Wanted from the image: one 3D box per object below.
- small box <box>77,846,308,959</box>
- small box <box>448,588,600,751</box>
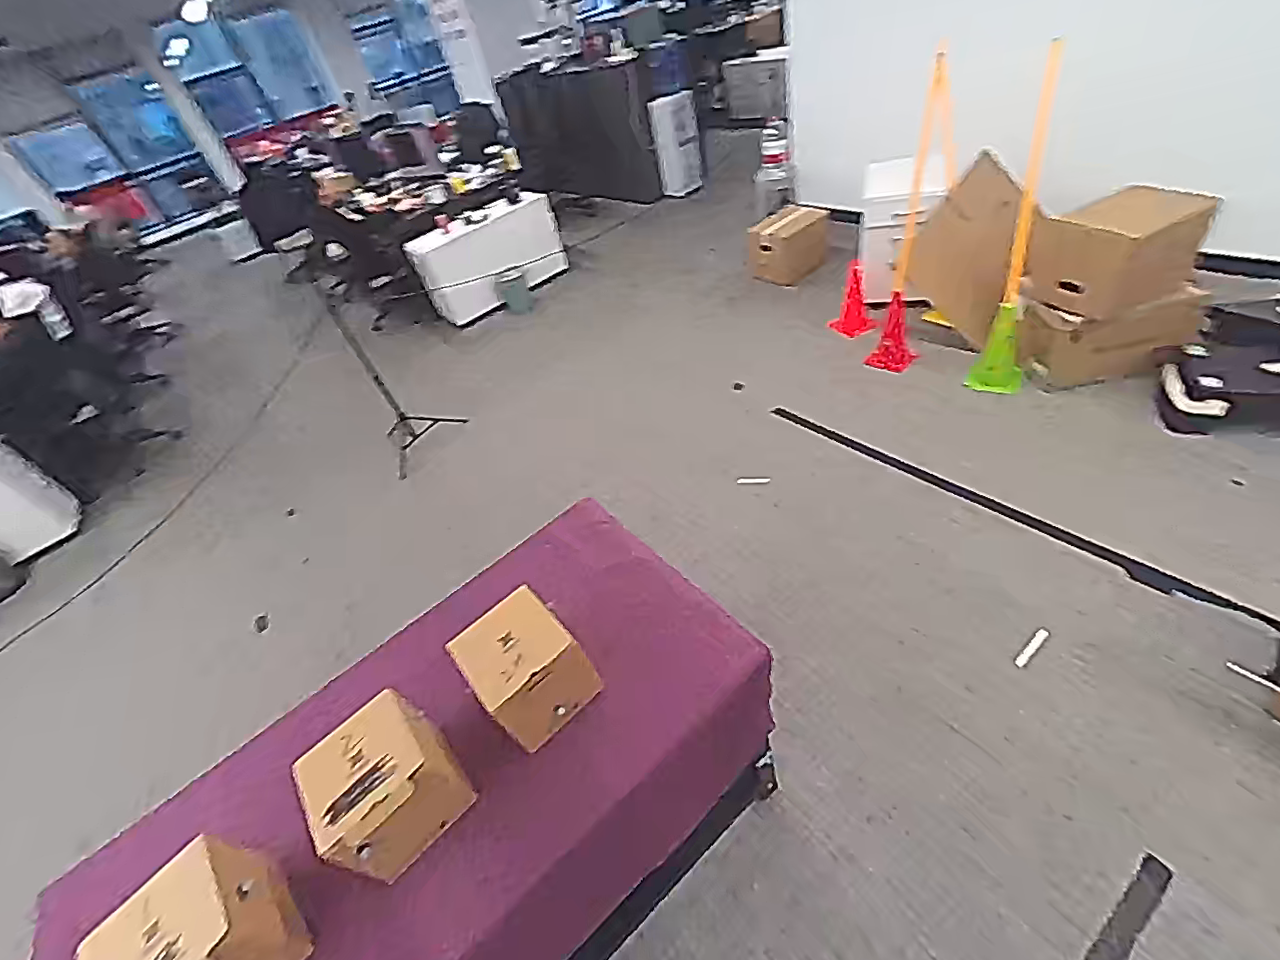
[{"bbox_3d":[-0.604,0.658,0.745,0.179,0.176,0.168,23,56,37],"label":"small box"},{"bbox_3d":[-0.198,0.332,0.945,0.168,0.176,0.179,-38,46,-20],"label":"small box"}]
